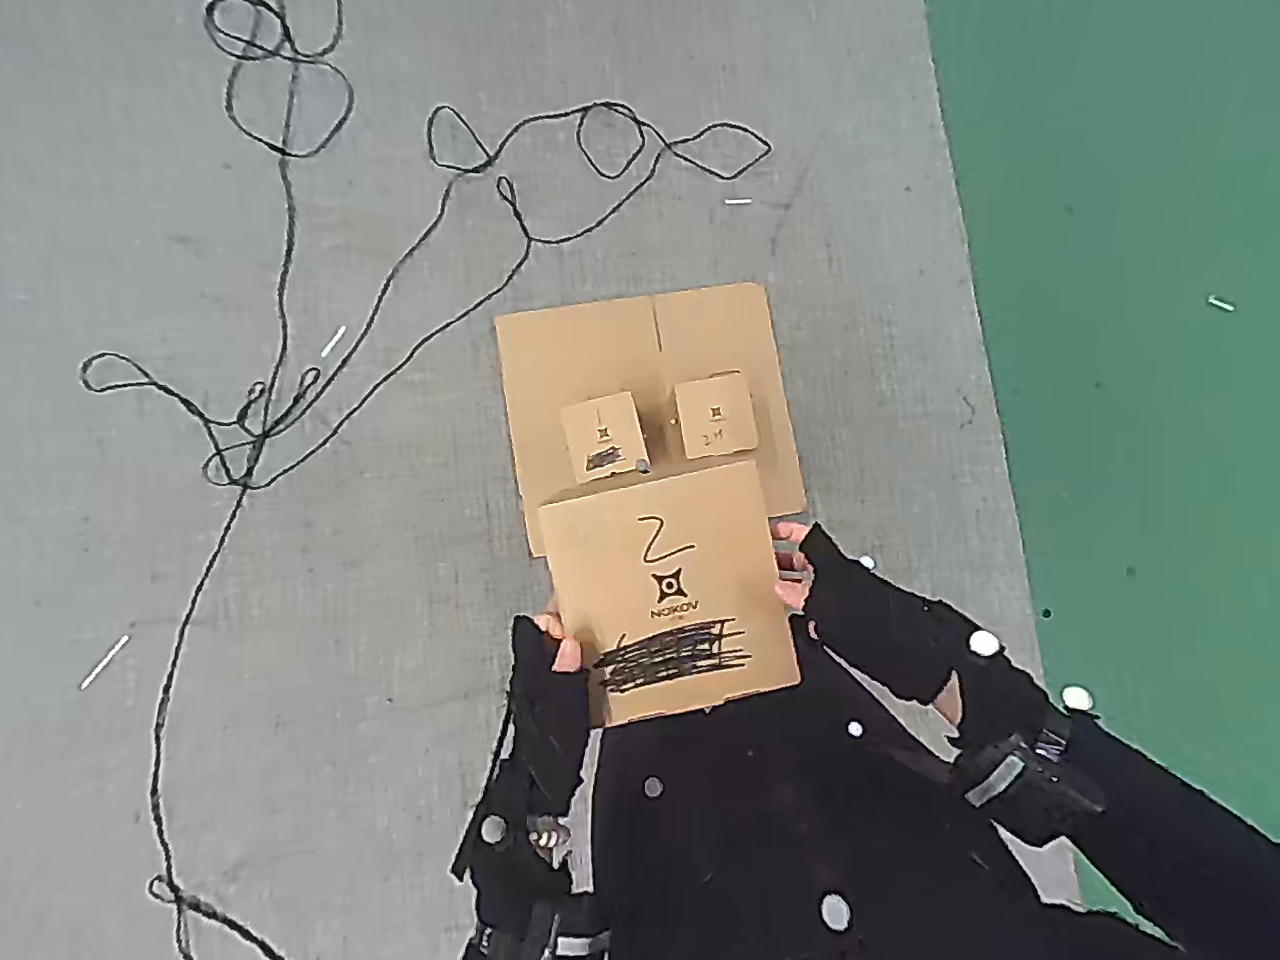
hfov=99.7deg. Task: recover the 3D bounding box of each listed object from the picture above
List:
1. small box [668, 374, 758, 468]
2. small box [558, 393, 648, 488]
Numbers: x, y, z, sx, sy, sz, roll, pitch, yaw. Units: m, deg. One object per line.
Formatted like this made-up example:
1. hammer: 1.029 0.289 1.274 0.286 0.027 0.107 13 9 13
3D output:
1. small box: 0.164 -0.133 1.272 0.168 0.176 0.179 -9 85 -3
2. small box: -0.082 -0.083 1.250 0.168 0.176 0.179 -14 85 -4
